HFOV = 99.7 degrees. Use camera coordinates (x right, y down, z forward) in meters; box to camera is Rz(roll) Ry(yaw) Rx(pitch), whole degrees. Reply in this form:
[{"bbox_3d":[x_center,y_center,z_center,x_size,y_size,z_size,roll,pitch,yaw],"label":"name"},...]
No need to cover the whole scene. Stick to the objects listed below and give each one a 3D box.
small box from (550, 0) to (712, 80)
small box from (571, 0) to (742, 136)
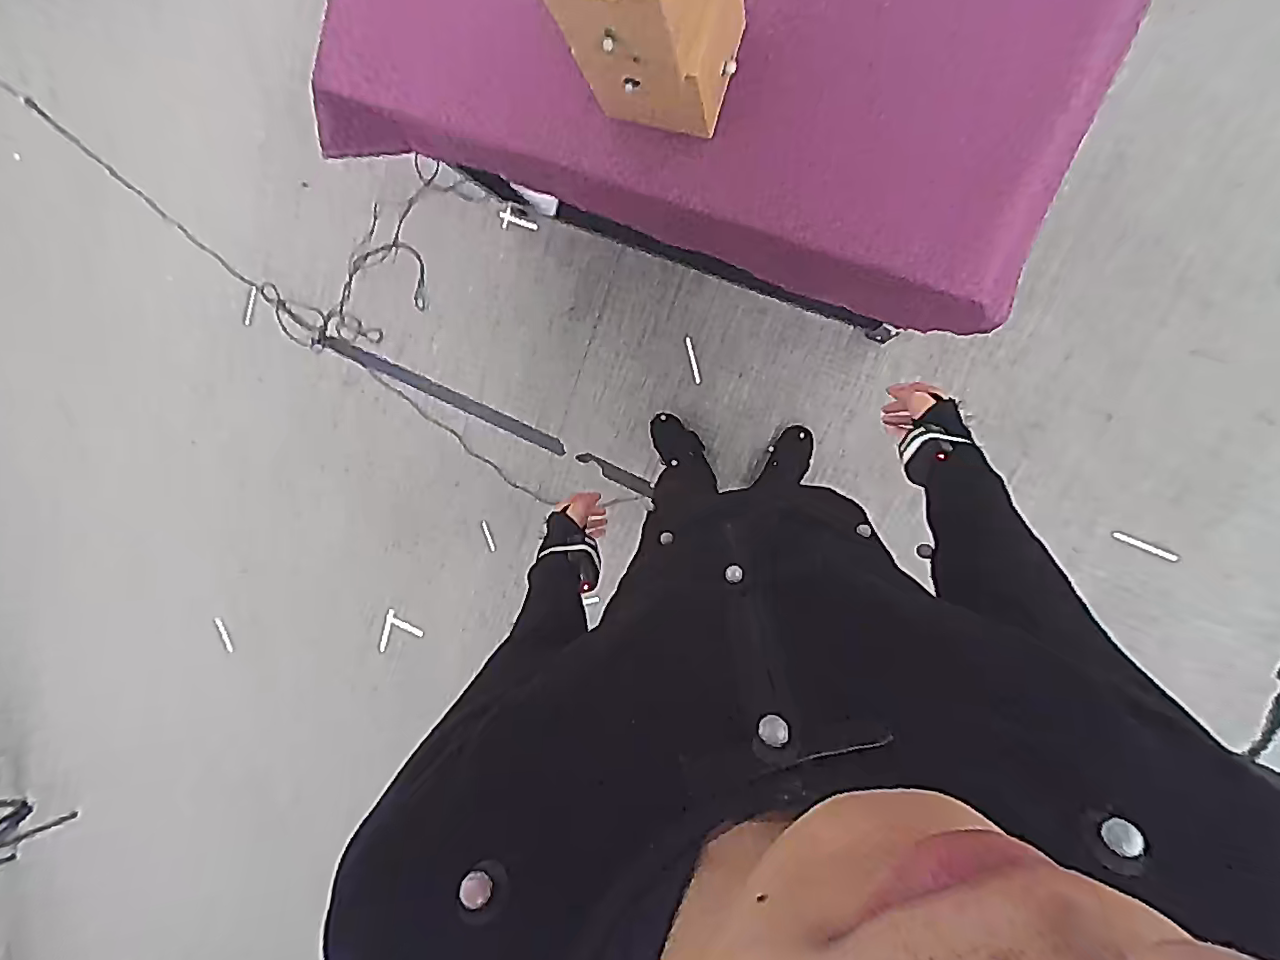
[{"bbox_3d":[-0.008,-0.593,0.588,0.168,0.176,0.179,25,103,10],"label":"small box"},{"bbox_3d":[0.031,-0.611,0.747,0.179,0.176,0.168,19,102,10],"label":"small box"}]
